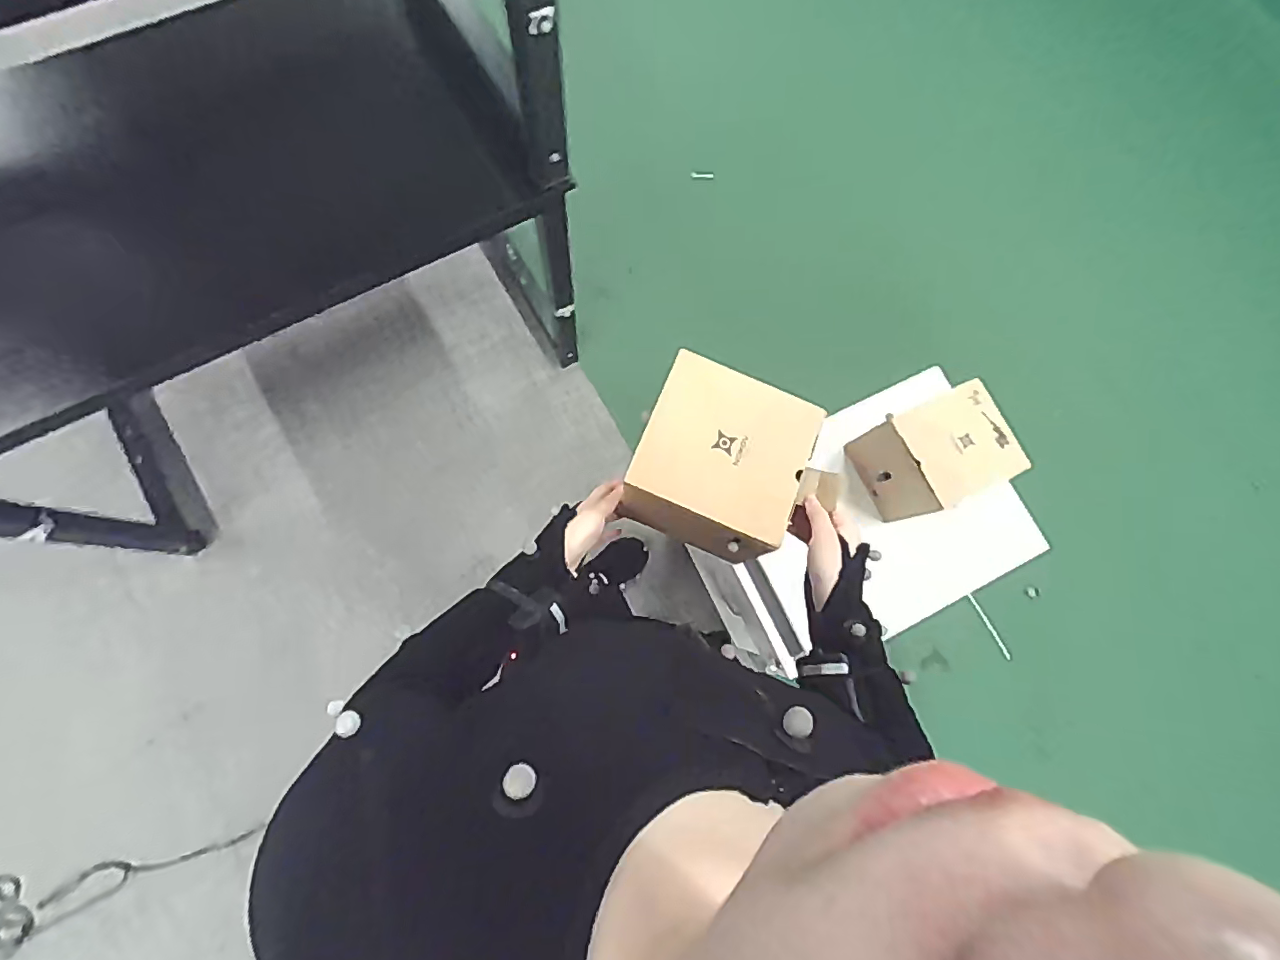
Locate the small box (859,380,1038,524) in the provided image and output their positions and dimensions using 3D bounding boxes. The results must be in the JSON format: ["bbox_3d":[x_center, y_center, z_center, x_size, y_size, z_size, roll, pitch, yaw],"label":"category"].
[{"bbox_3d":[0.499,-0.037,0.911,0.179,0.176,0.168,-24,81,-8],"label":"small box"}]

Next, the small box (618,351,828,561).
[{"bbox_3d":[0.082,-0.013,0.627,0.179,0.176,0.168,22,75,0],"label":"small box"}]
